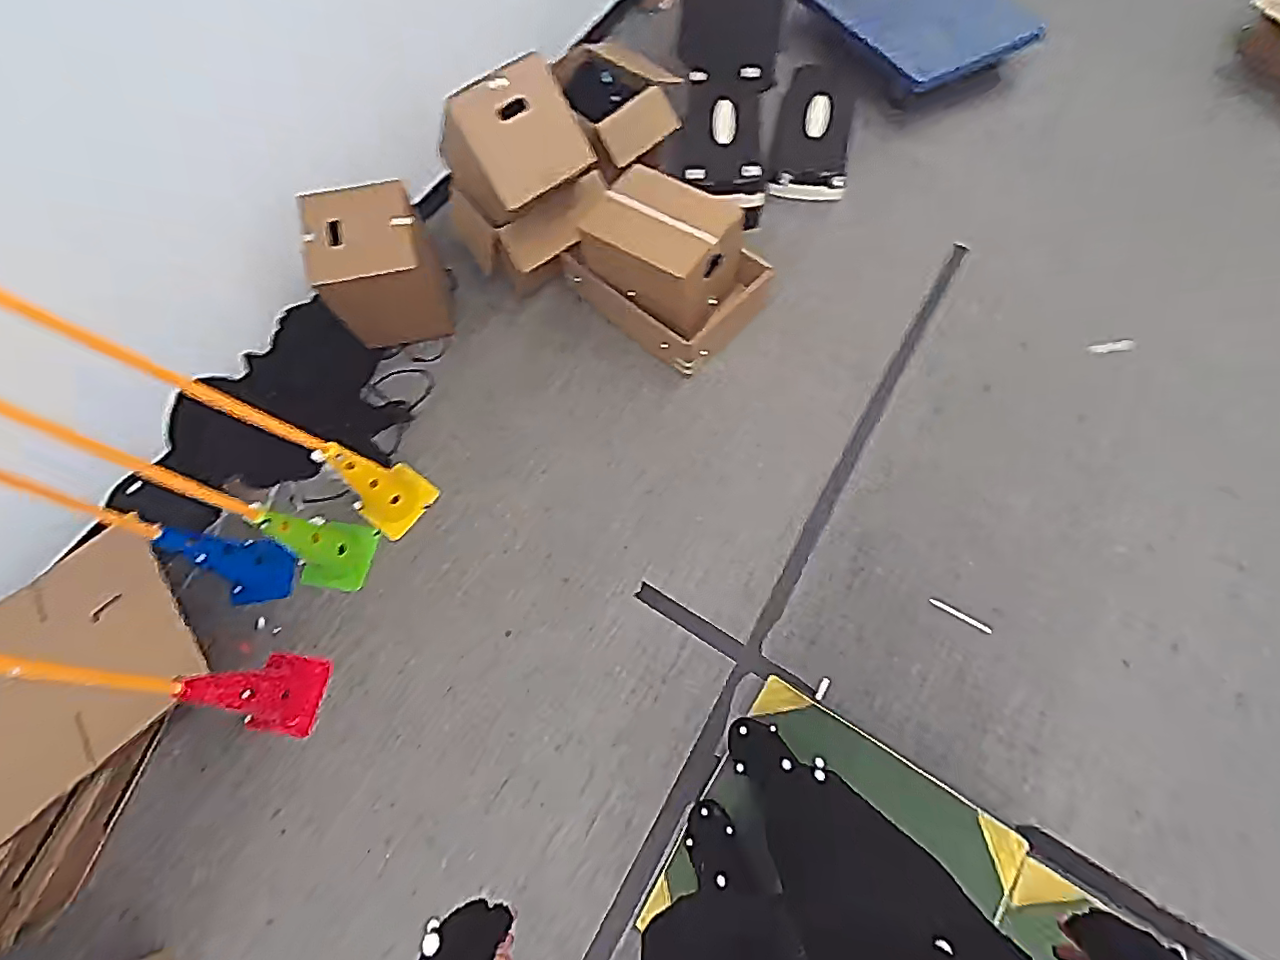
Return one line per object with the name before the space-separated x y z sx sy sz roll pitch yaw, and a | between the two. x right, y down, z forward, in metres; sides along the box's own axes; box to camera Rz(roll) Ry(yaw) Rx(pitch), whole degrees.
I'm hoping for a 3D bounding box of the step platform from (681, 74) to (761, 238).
step platform | 0.308 -1.254 2.068 0.286 0.204 0.684 1 67 7
